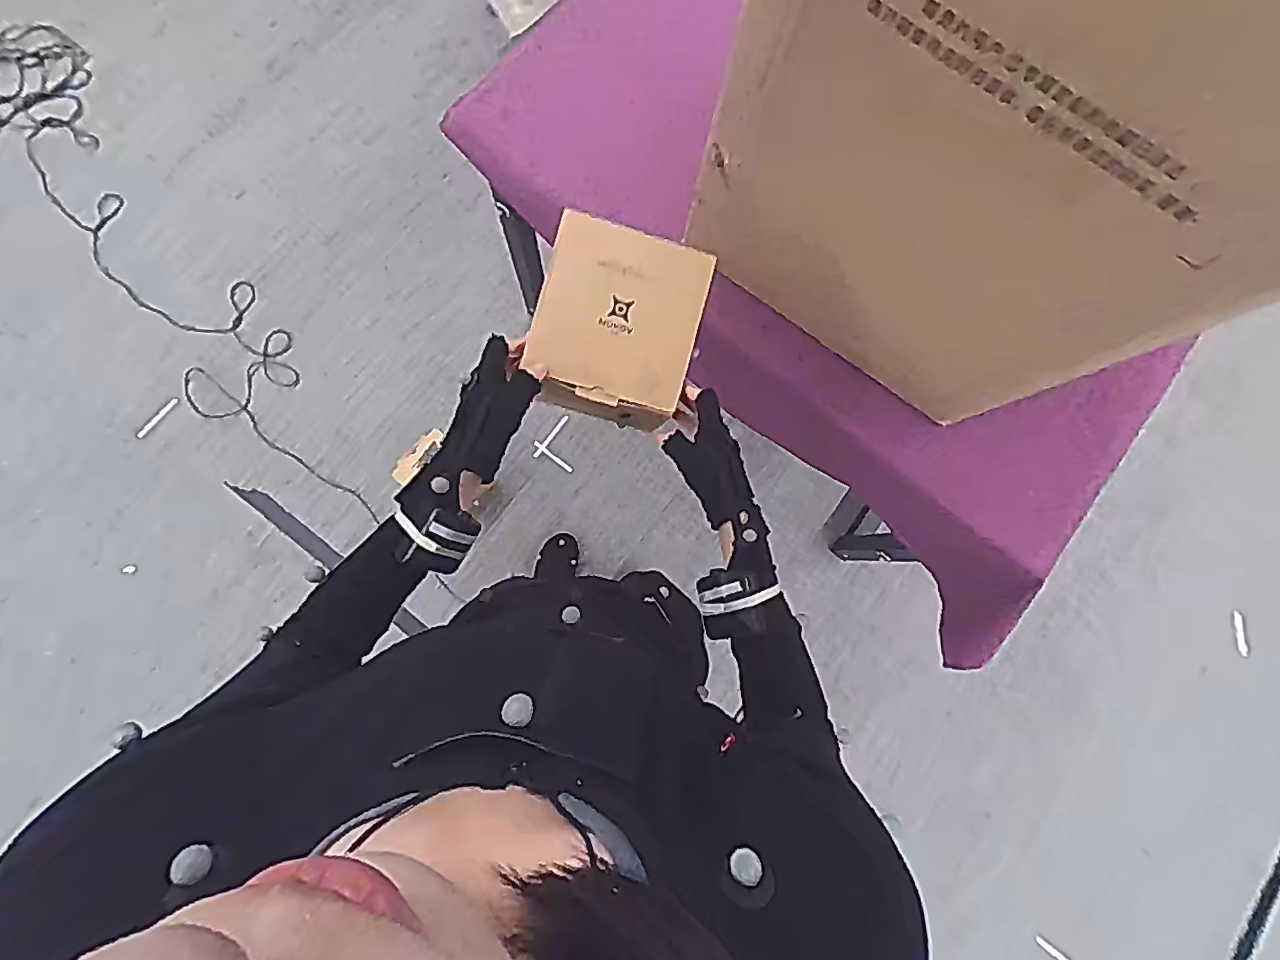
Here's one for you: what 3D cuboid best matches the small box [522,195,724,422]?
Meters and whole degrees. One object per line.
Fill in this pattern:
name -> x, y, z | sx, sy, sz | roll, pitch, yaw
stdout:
small box -> -0.024, -0.173, 0.610 | 0.168, 0.176, 0.179 | 15, 88, -7

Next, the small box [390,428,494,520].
small box -> -0.516, -0.006, 1.436 | 0.179, 0.176, 0.168 | 40, 81, 2
